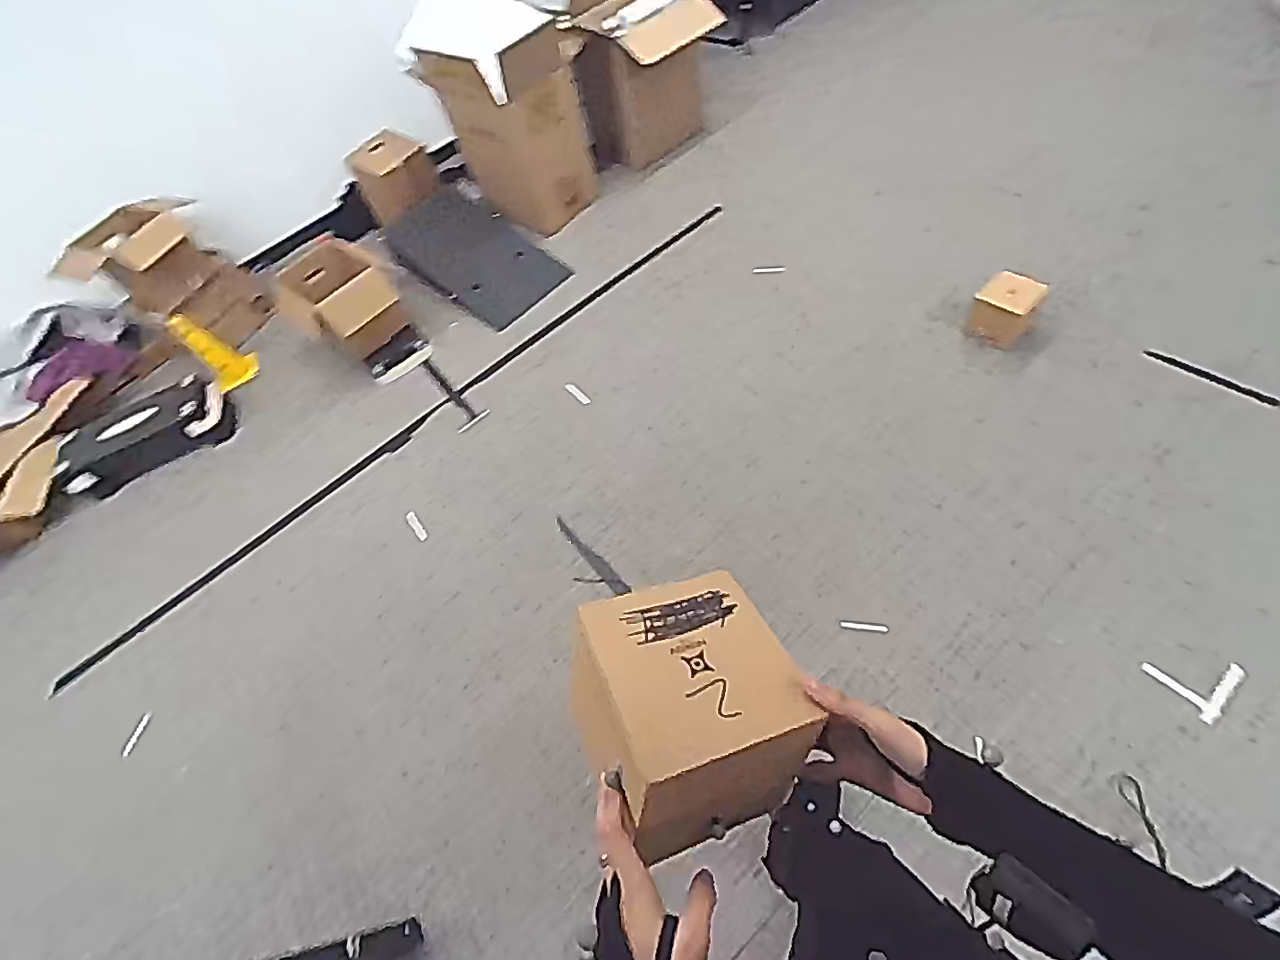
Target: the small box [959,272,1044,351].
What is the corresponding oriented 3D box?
[{"bbox_3d":[1.274,-0.596,1.921,0.179,0.176,0.168,-40,57,-14],"label":"small box"}]
